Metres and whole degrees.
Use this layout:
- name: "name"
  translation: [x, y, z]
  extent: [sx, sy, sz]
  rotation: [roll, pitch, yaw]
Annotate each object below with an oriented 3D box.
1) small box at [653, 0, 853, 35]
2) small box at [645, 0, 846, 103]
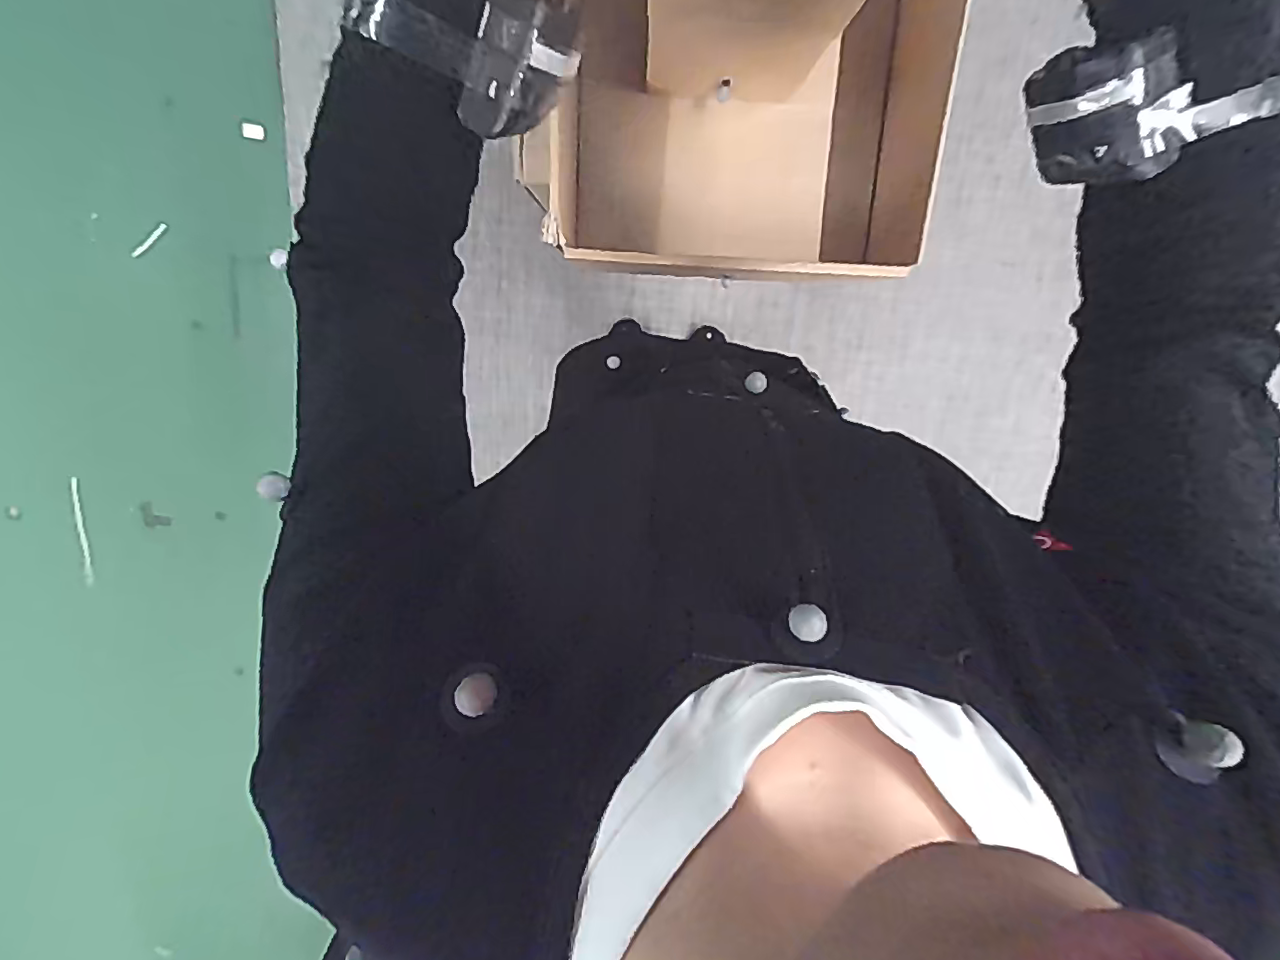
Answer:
- name: "small box"
  translation: [0.102, -0.463, 0.388]
  extent: [0.179, 0.176, 0.168]
  rotation: [5, 105, -3]
- name: "small box"
  translation: [0.100, -0.510, 0.546]
  extent: [0.179, 0.176, 0.168]
  rotation: [2, 104, -2]
